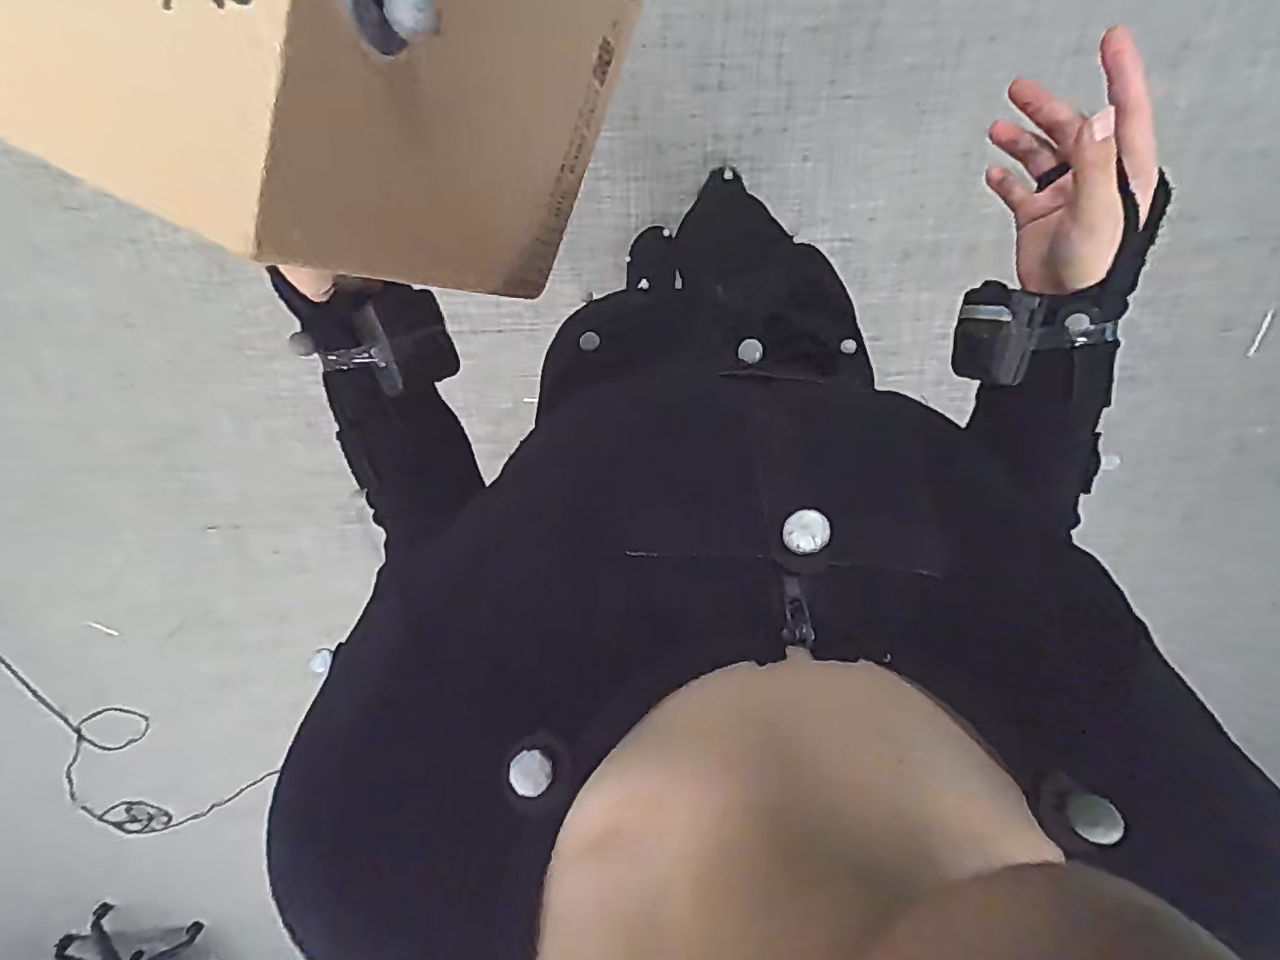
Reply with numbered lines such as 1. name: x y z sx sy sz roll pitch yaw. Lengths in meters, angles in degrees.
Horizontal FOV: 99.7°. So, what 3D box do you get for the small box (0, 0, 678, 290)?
1. small box: -0.104 -0.180 0.194 0.179 0.176 0.168 27 110 6
